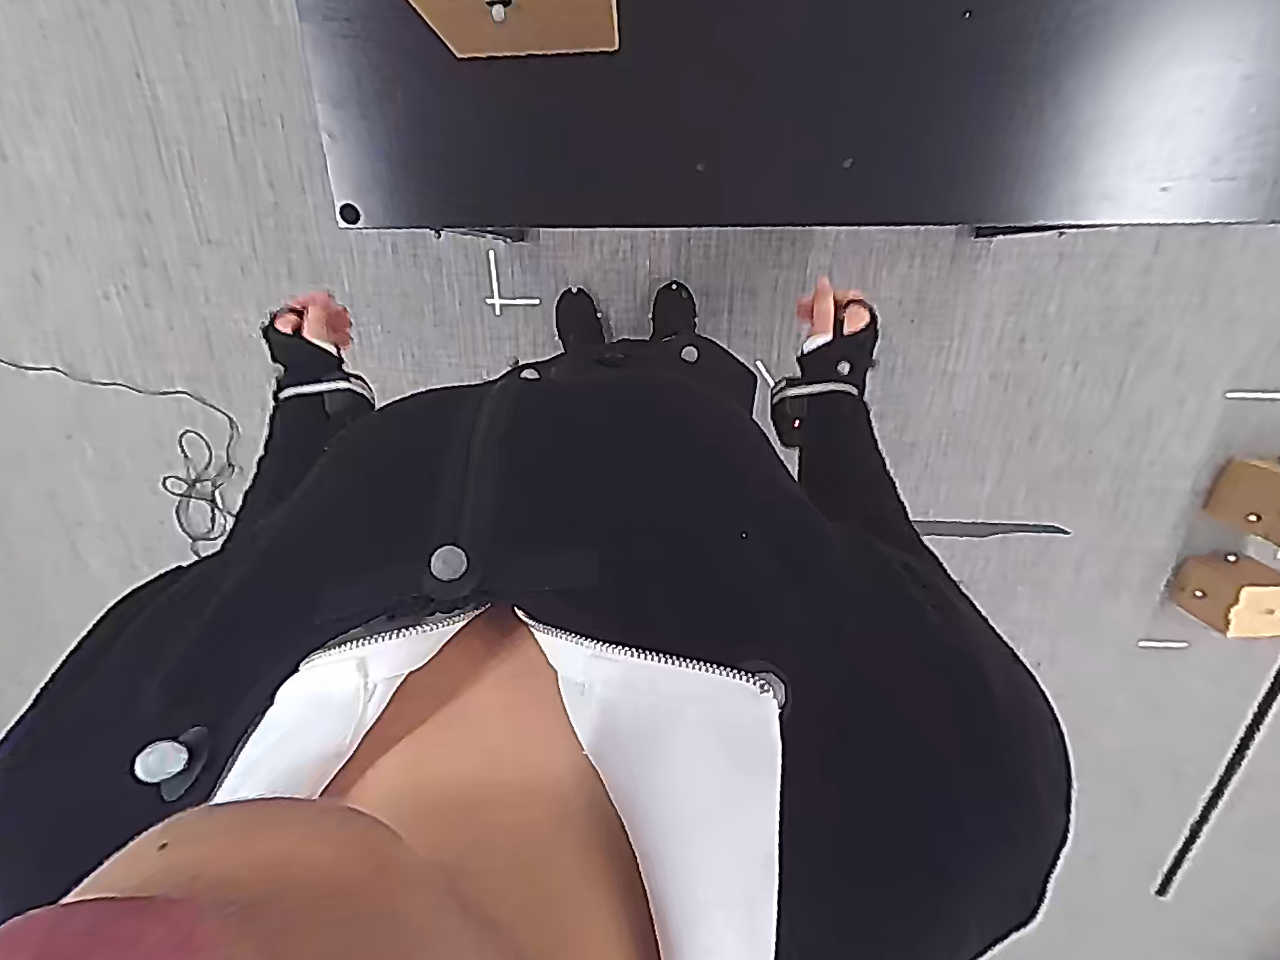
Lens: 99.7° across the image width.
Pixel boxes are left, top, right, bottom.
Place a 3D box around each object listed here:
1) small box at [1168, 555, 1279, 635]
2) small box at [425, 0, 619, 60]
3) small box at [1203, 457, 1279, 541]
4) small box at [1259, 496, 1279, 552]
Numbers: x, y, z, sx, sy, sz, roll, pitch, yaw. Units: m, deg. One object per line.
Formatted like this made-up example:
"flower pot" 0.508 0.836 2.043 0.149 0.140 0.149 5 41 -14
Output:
"small box" 1.698 0.328 1.558 0.179 0.176 0.168 -2 111 3
"small box" -0.112 -0.507 0.487 0.179 0.176 0.168 -2 111 1
"small box" 1.688 0.051 1.447 0.168 0.176 0.179 2 111 0
"small box" 1.689 0.118 1.298 0.179 0.176 0.168 1 110 2
